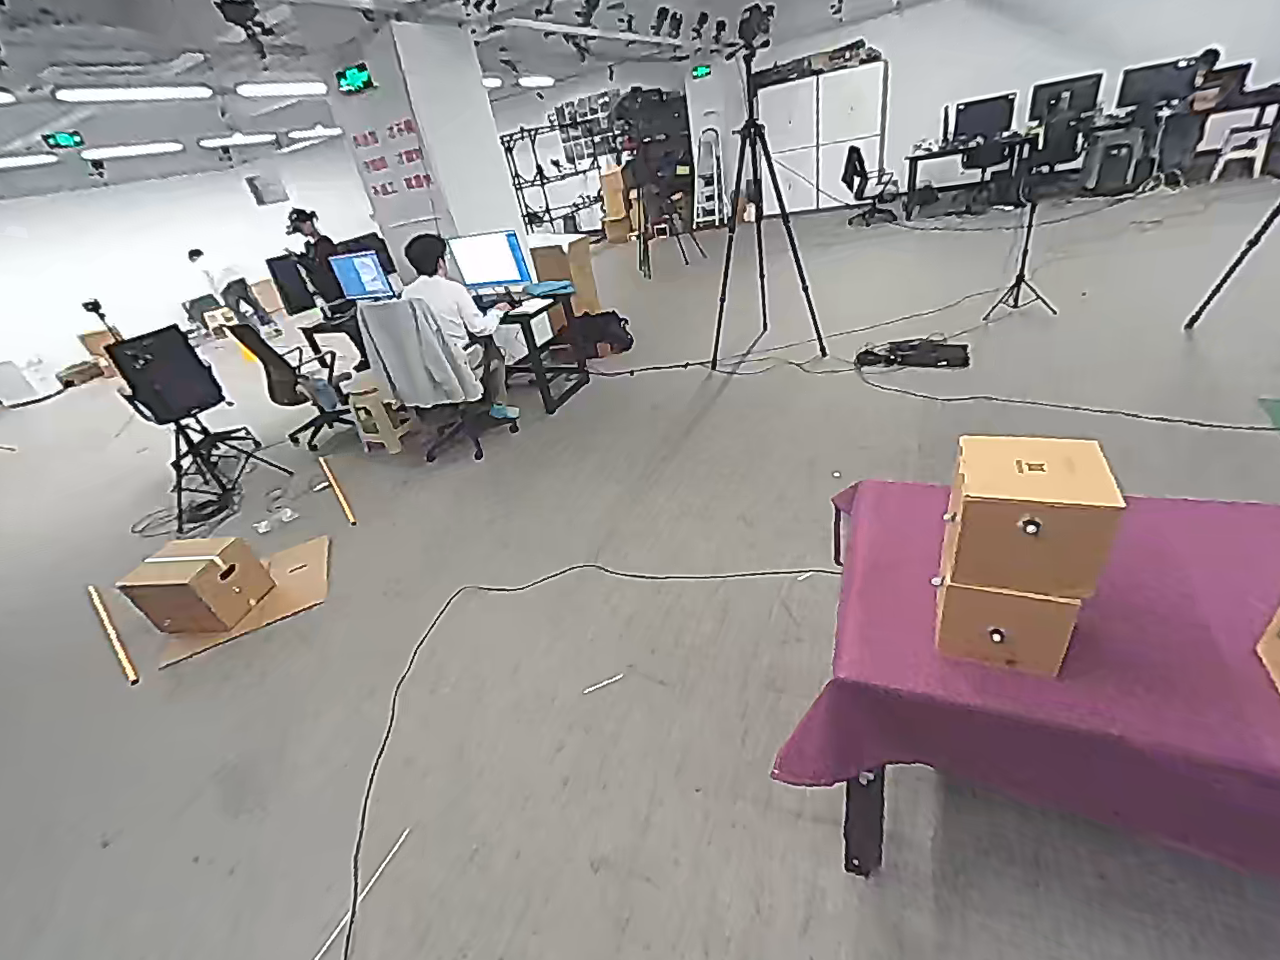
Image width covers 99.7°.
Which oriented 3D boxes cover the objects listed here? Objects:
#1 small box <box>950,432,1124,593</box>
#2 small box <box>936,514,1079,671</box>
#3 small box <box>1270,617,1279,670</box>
[{"bbox_3d":[0.561,0.044,0.795,0.179,0.176,0.168,5,37,26],"label":"small box"},{"bbox_3d":[0.587,0.180,0.883,0.168,0.176,0.179,6,36,27],"label":"small box"},{"bbox_3d":[0.958,0.228,0.676,0.179,0.176,0.168,5,36,26],"label":"small box"}]
